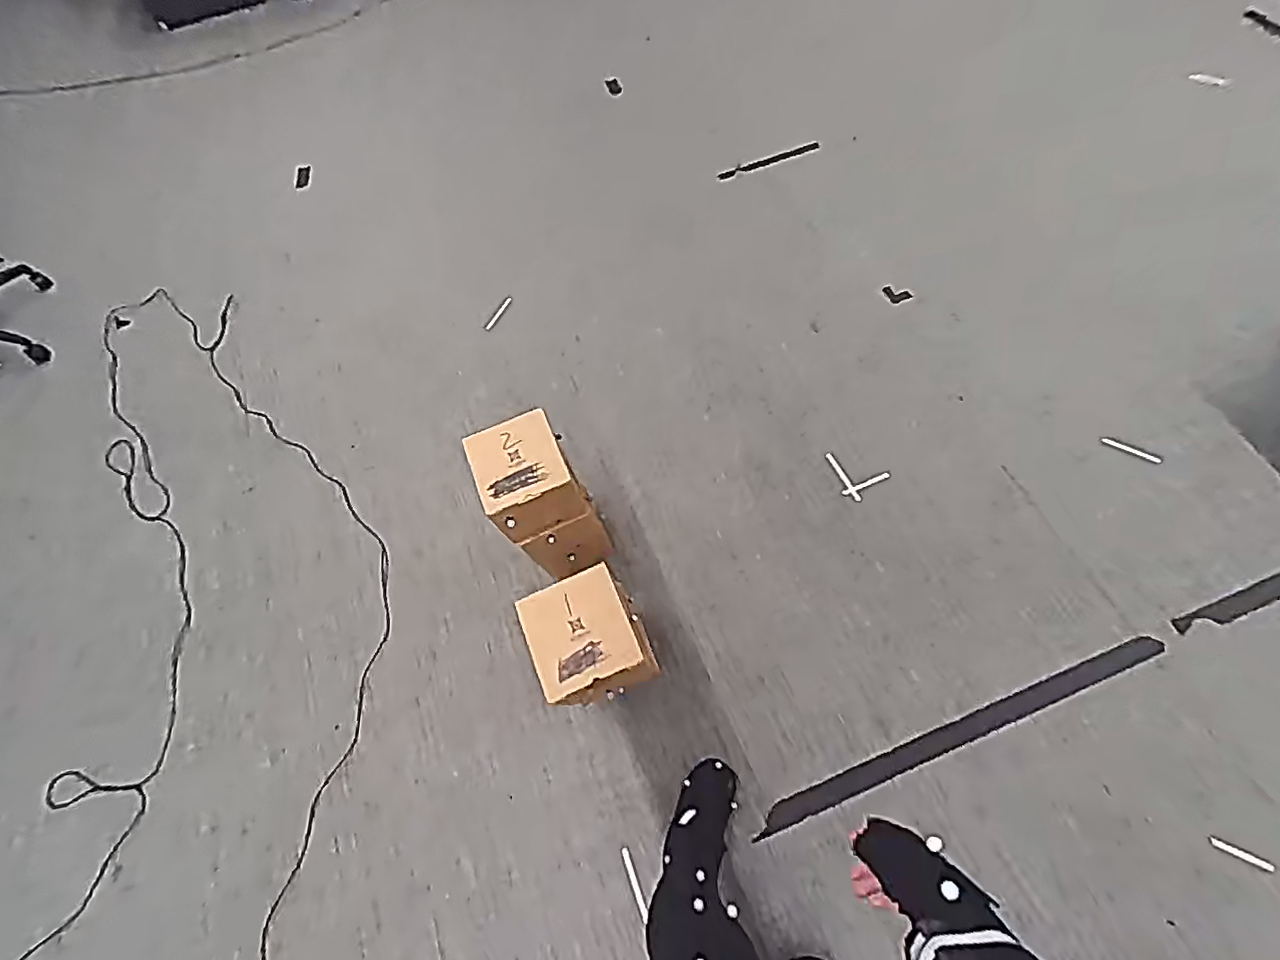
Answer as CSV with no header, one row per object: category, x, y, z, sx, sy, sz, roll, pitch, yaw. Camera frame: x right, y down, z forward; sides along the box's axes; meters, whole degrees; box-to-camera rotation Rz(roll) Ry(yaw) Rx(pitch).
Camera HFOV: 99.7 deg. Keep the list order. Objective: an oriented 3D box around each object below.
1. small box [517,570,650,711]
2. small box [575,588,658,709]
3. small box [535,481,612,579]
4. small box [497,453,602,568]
small box,-0.090,0.282,0.941,0.168,0.176,0.179,-24,66,-5
small box,-0.071,0.343,1.093,0.168,0.176,0.179,-25,67,-5
small box,-0.186,0.133,1.371,0.179,0.176,0.168,-24,67,-6
small box,-0.199,0.074,1.218,0.168,0.176,0.179,-25,66,-5
